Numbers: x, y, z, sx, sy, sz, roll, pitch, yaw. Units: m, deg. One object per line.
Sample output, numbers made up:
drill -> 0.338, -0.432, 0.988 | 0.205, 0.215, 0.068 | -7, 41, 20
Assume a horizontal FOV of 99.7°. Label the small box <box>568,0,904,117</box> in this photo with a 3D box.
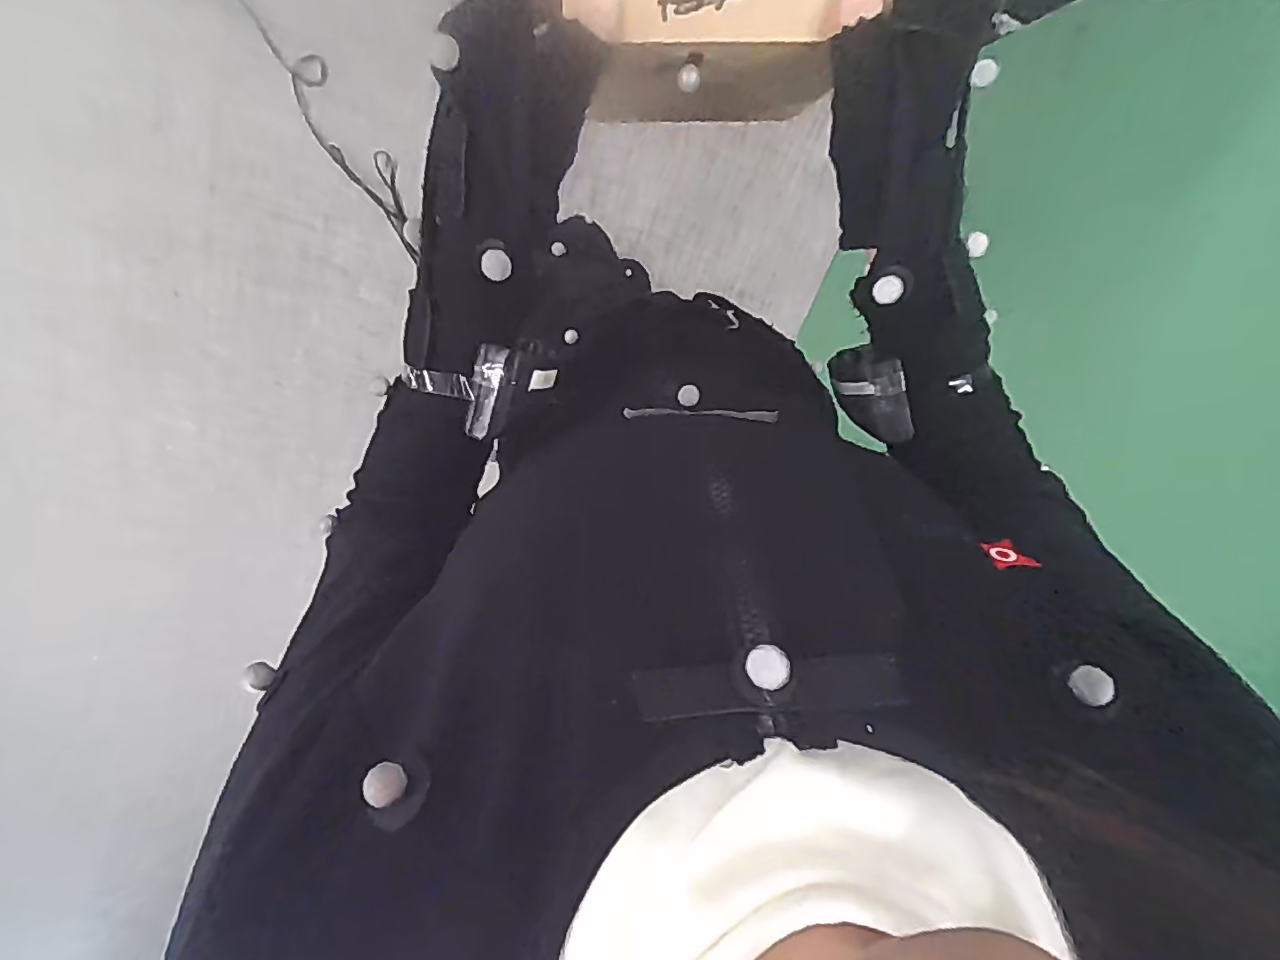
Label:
small box -> 0.042, -0.328, 0.304 | 0.168, 0.176, 0.179 | -2, 113, -2
